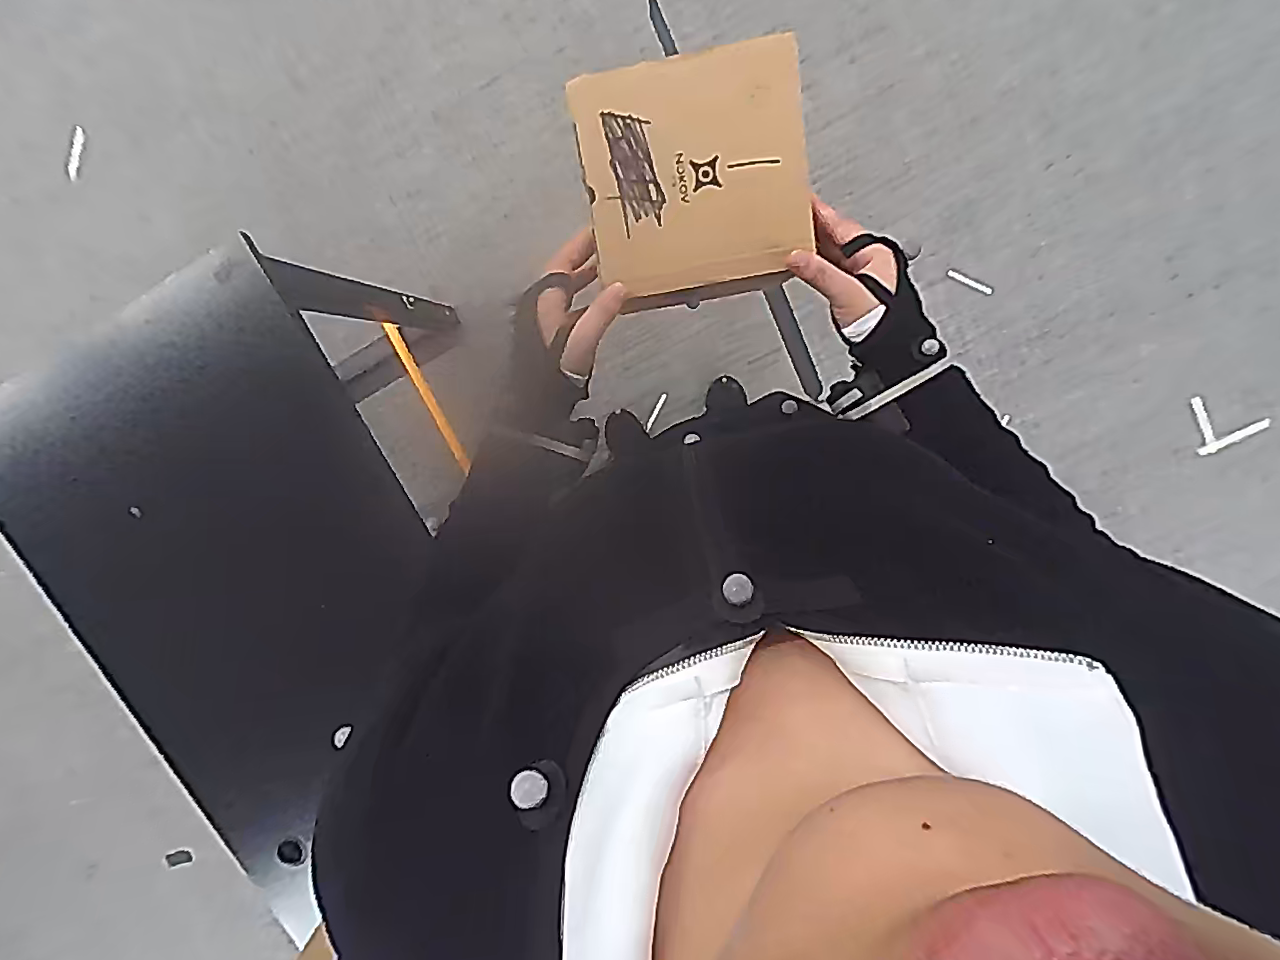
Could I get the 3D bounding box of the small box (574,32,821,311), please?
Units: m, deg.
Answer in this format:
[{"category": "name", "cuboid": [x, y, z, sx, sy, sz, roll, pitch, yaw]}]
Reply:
[{"category": "small box", "cuboid": [0.051, -0.256, 0.497, 0.179, 0.176, 0.168, -9, 104, 4]}]
